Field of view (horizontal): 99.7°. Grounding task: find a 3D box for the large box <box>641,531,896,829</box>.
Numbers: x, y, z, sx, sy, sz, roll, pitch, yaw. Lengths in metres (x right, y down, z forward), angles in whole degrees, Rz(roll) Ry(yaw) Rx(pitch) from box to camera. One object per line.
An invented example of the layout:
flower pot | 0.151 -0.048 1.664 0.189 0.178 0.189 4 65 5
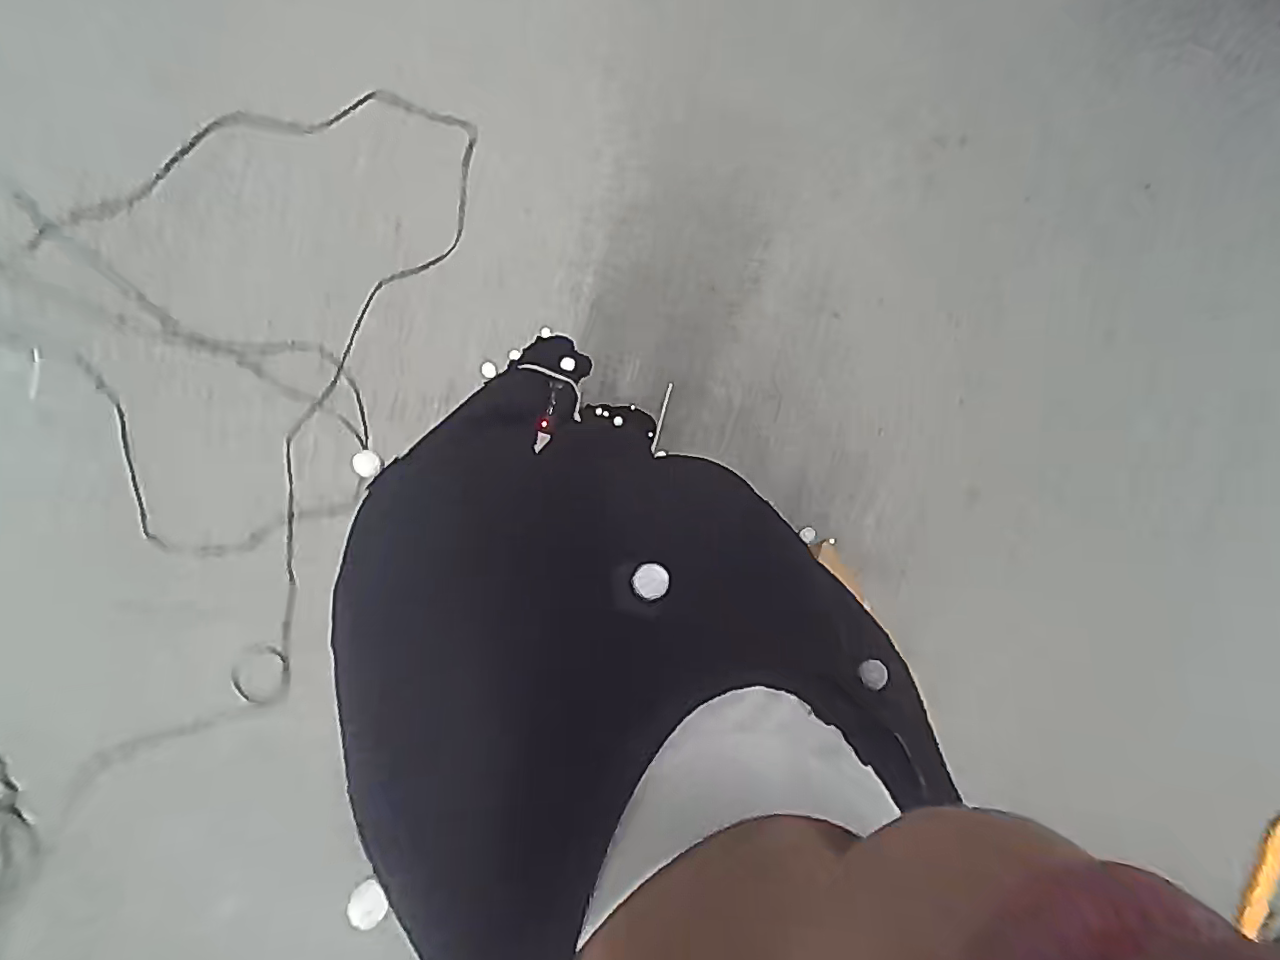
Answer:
large box | 0.264 0.368 1.037 0.320 0.408 0.320 -30 97 33
